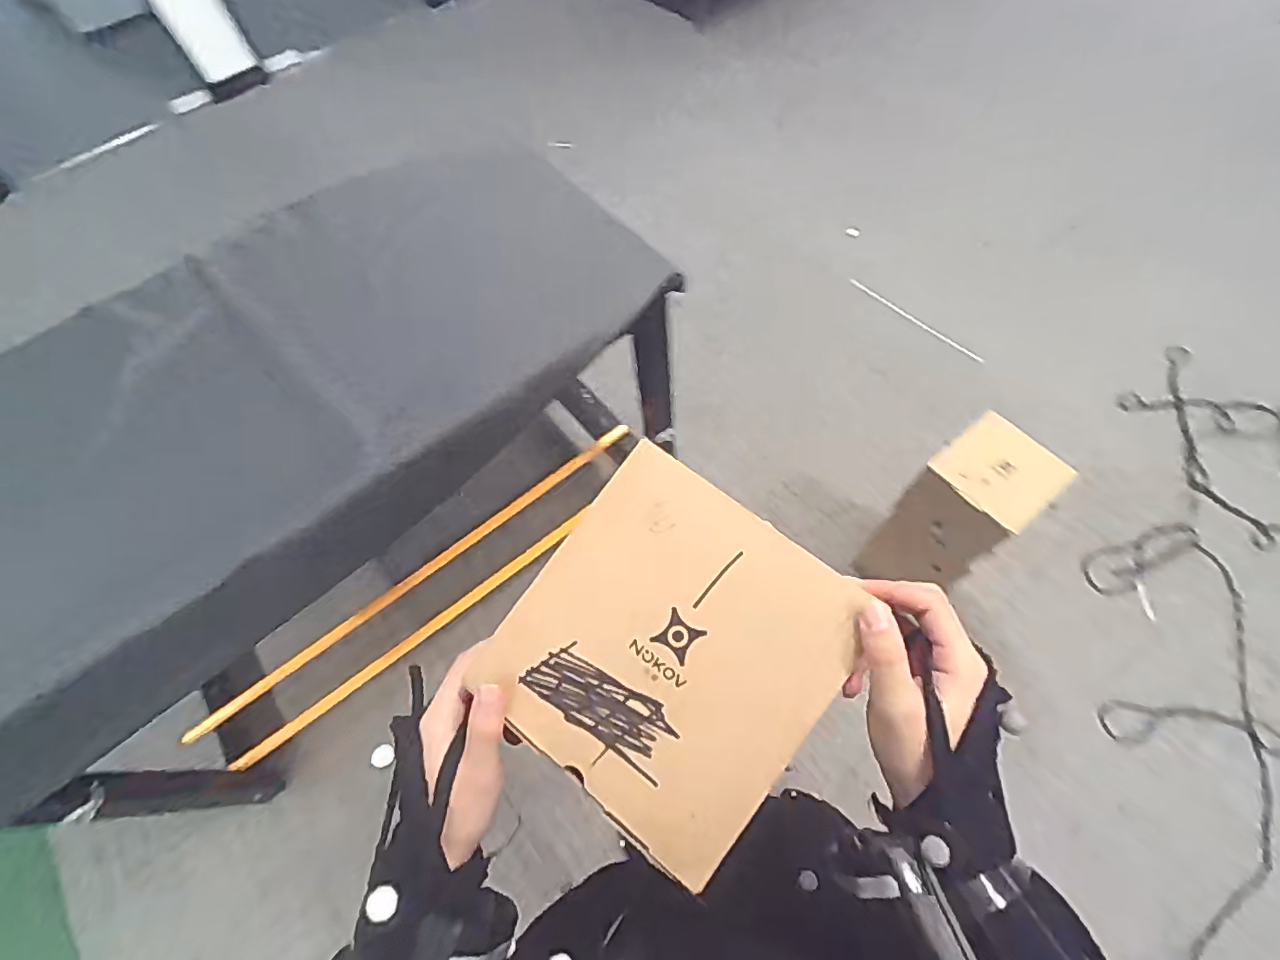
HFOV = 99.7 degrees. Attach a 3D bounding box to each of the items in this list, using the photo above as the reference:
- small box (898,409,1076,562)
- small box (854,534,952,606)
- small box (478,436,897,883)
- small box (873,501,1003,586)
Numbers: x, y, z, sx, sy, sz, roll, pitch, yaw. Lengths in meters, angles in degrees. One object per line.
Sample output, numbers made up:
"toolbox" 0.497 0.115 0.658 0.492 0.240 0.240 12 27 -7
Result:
"small box" 0.596 0.014 0.955 0.179 0.176 0.168 -36 65 -14
"small box" 0.631 0.169 1.242 0.168 0.176 0.179 -35 66 -13
"small box" 0.033 0.104 0.369 0.168 0.176 0.179 37 86 14
"small box" 0.613 0.095 1.098 0.168 0.176 0.179 -38 65 -15
